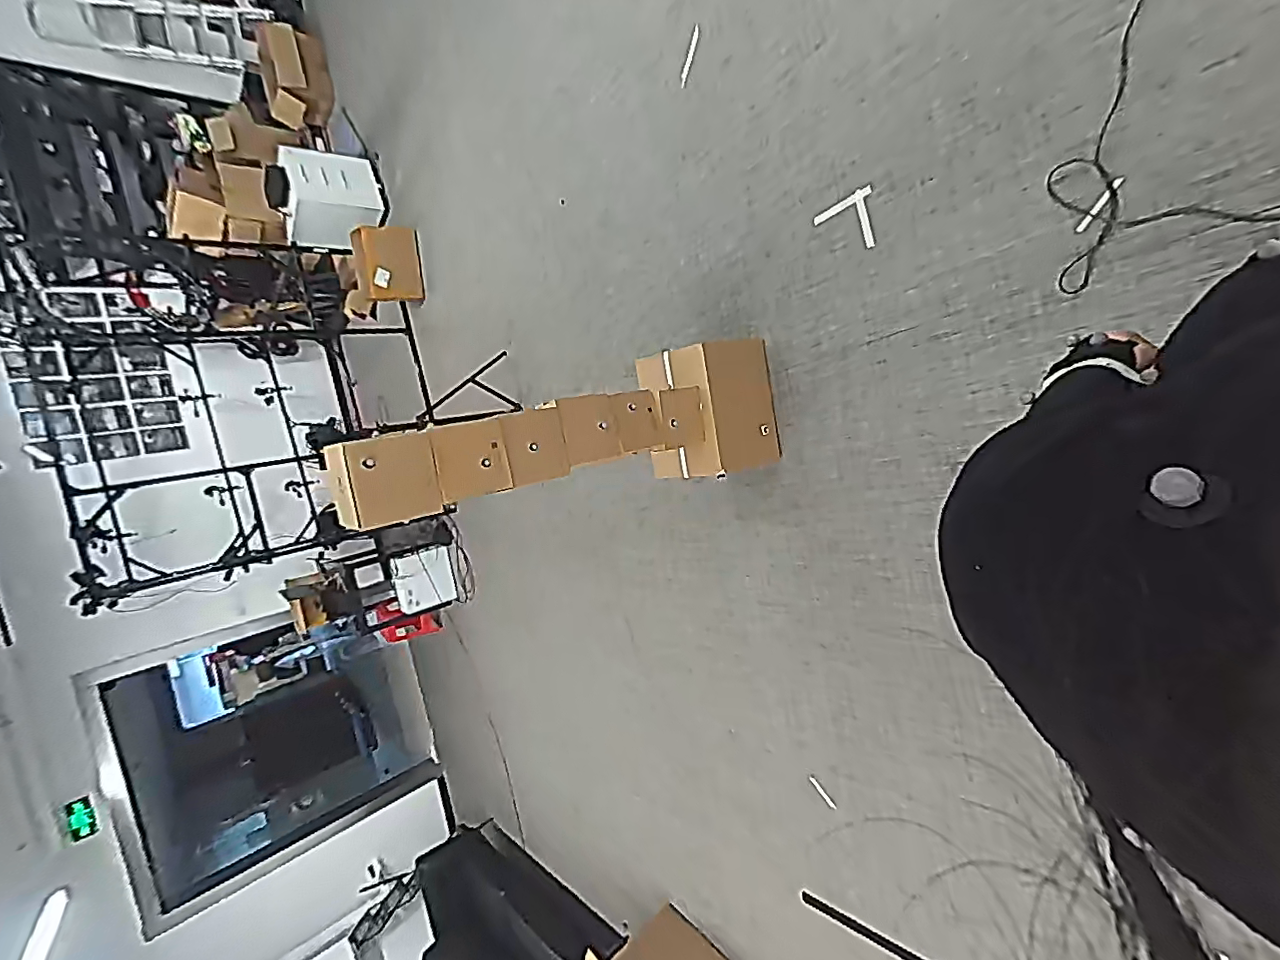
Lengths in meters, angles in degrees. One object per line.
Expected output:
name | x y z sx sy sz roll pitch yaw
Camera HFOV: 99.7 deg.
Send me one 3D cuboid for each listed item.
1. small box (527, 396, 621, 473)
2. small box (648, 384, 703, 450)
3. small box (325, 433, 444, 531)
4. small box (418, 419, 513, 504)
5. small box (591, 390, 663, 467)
small box | -0.176 -0.125 1.451 0.168 0.176 0.179 -12 92 51
small box | 0.076 -0.190 1.647 0.168 0.176 0.179 3 103 49
small box | -0.536 -0.003 1.139 0.168 0.176 0.179 0 102 50
small box | -0.416 -0.039 1.245 0.179 0.176 0.168 -8 96 50
small box | -0.054 -0.151 1.557 0.179 0.176 0.168 -22 84 52
